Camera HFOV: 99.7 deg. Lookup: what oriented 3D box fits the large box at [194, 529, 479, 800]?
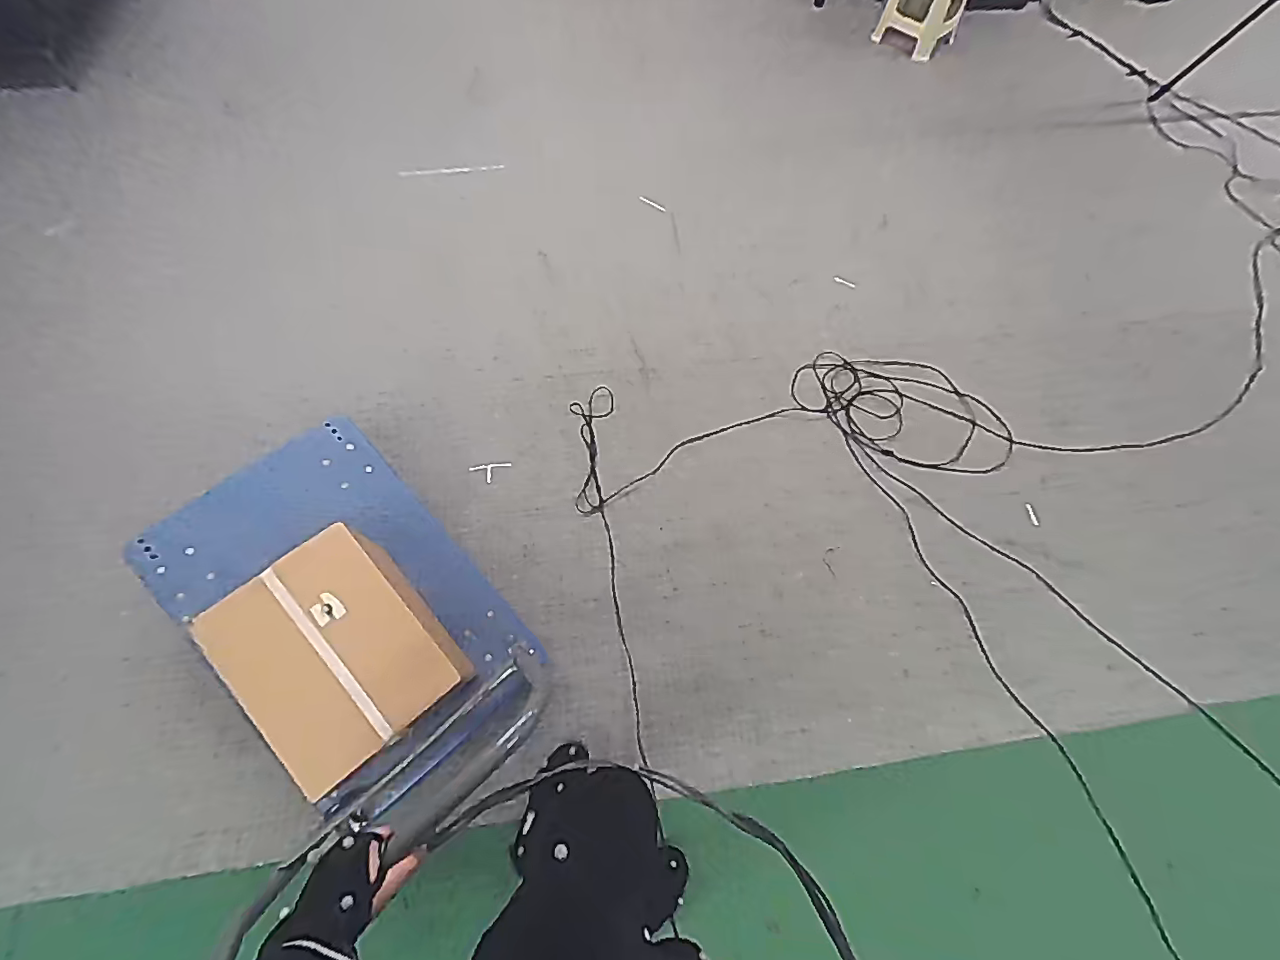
[{"bbox_3d":[-0.605,0.378,1.160,0.320,0.320,0.408,-39,82,-20],"label":"large box"}]
